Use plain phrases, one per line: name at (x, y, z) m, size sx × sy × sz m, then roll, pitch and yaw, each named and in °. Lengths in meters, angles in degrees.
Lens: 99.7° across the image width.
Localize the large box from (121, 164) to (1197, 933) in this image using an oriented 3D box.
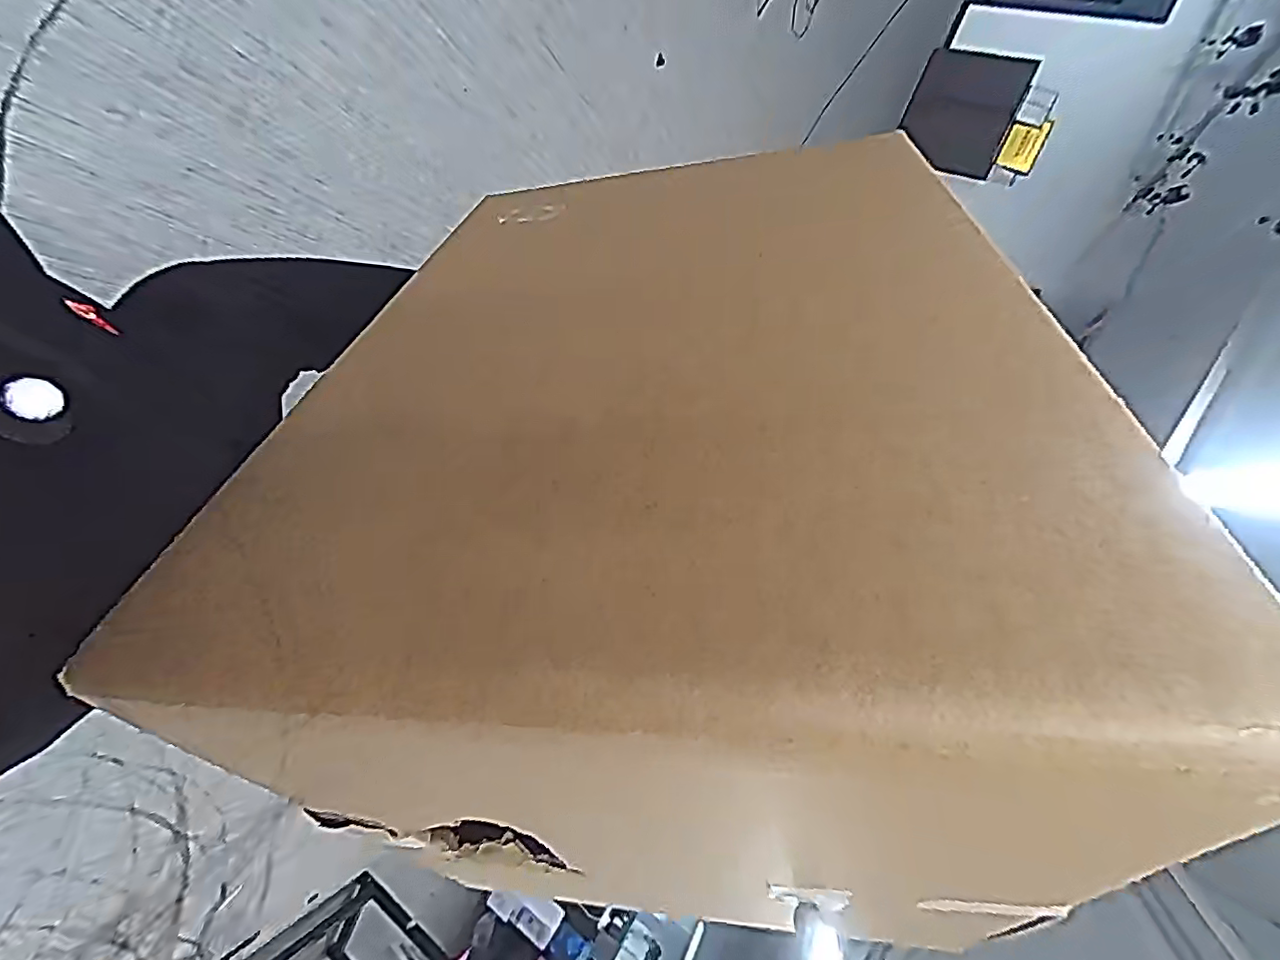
large box at (0.028, 0.022, 0.380) m, size 0.320 × 0.320 × 0.408 m, roll 78°, pitch 16°, yaw -44°
